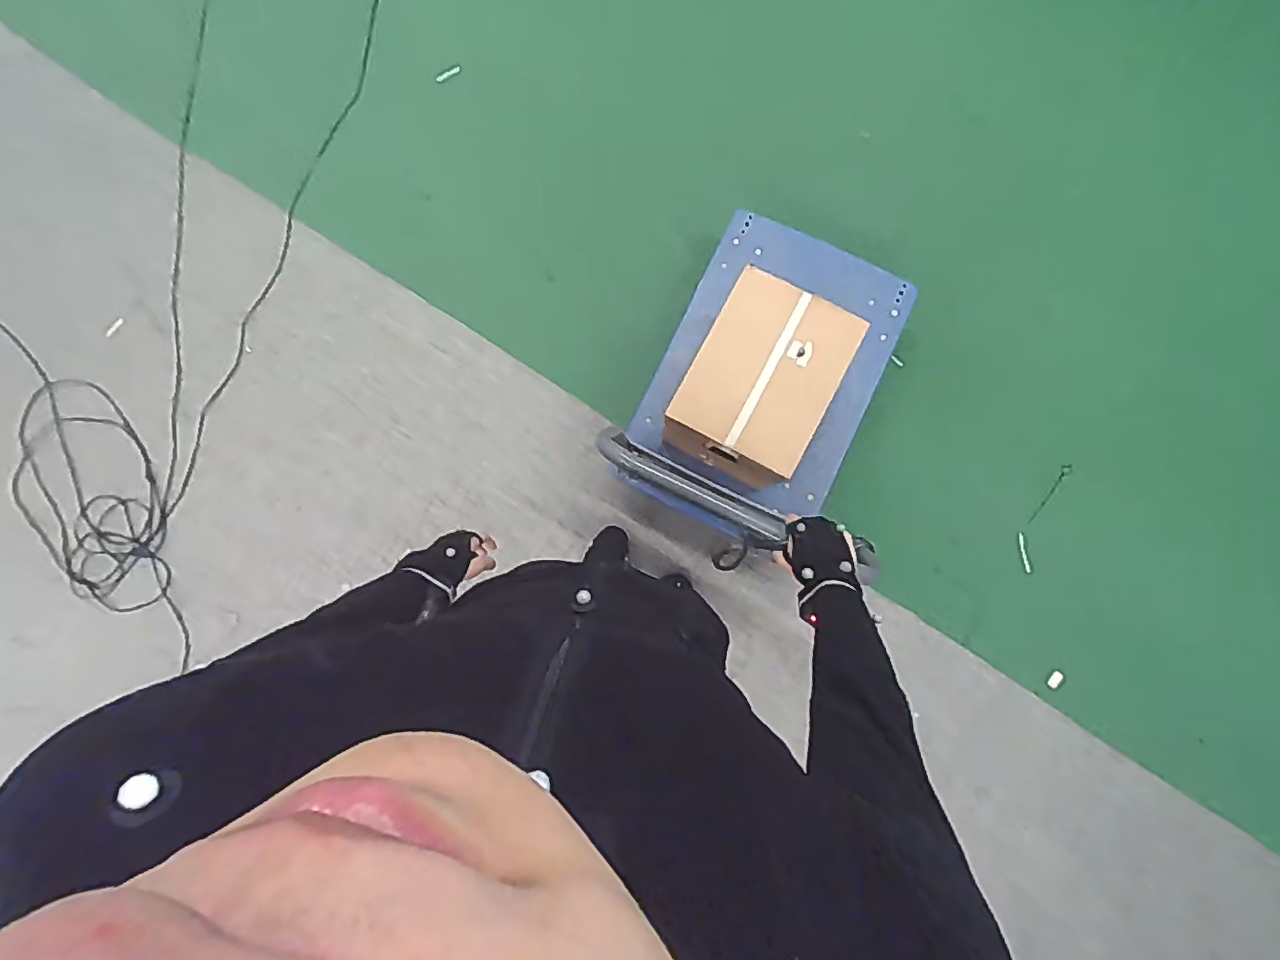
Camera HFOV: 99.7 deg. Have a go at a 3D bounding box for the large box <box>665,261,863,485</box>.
[{"bbox_3d":[0.283,-0.242,1.358,0.320,0.320,0.408,29,85,3],"label":"large box"}]
